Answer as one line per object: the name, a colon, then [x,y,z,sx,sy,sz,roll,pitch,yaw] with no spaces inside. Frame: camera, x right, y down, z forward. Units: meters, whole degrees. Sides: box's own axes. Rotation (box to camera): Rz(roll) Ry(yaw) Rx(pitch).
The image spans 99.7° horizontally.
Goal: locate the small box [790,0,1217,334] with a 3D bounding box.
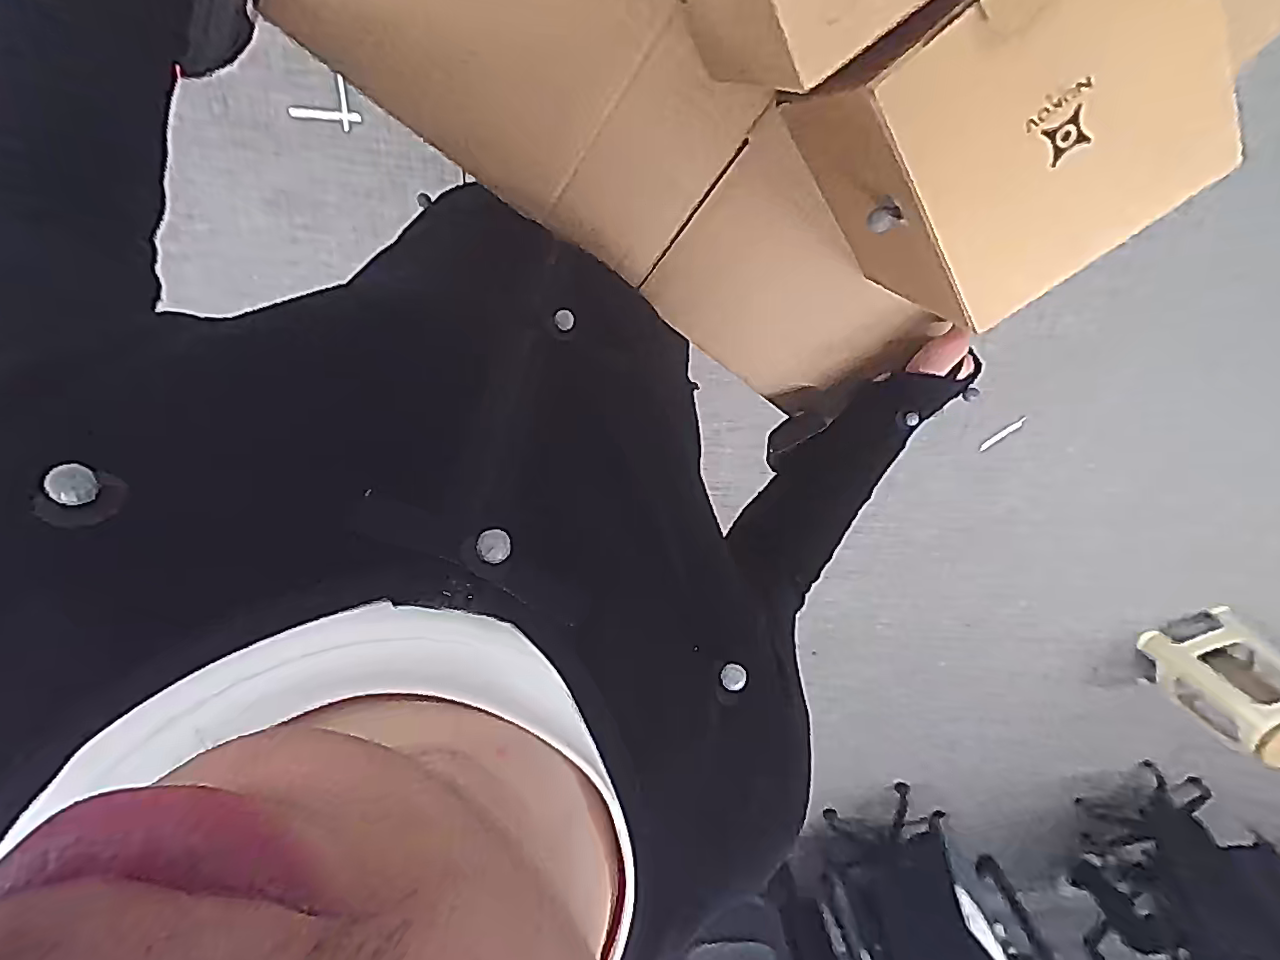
small box: [0.236,-0.243,0.386,0.168,0.176,0.179,-35,118,16]
